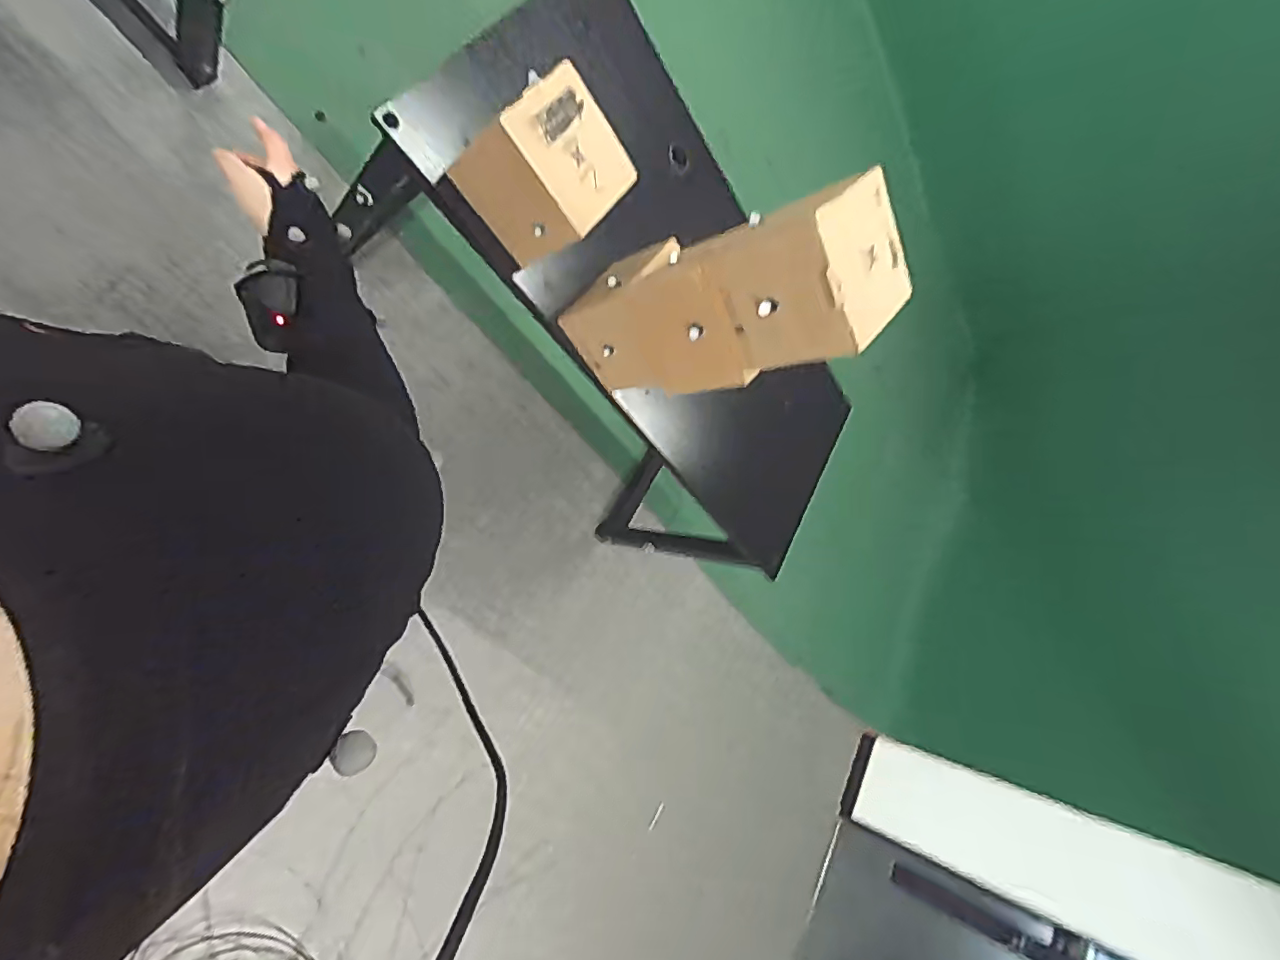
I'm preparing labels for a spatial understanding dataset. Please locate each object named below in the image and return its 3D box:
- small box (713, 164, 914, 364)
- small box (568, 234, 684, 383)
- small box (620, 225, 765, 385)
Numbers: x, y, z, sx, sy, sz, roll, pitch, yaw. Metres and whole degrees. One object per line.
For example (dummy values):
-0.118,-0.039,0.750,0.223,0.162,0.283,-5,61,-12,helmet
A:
0.215,-0.264,0.693,0.179,0.176,0.168,-42,117,-30,small box
0.000,-0.286,0.937,0.179,0.176,0.168,-54,124,-26,small box
0.104,-0.255,0.813,0.168,0.176,0.179,-46,119,-29,small box
